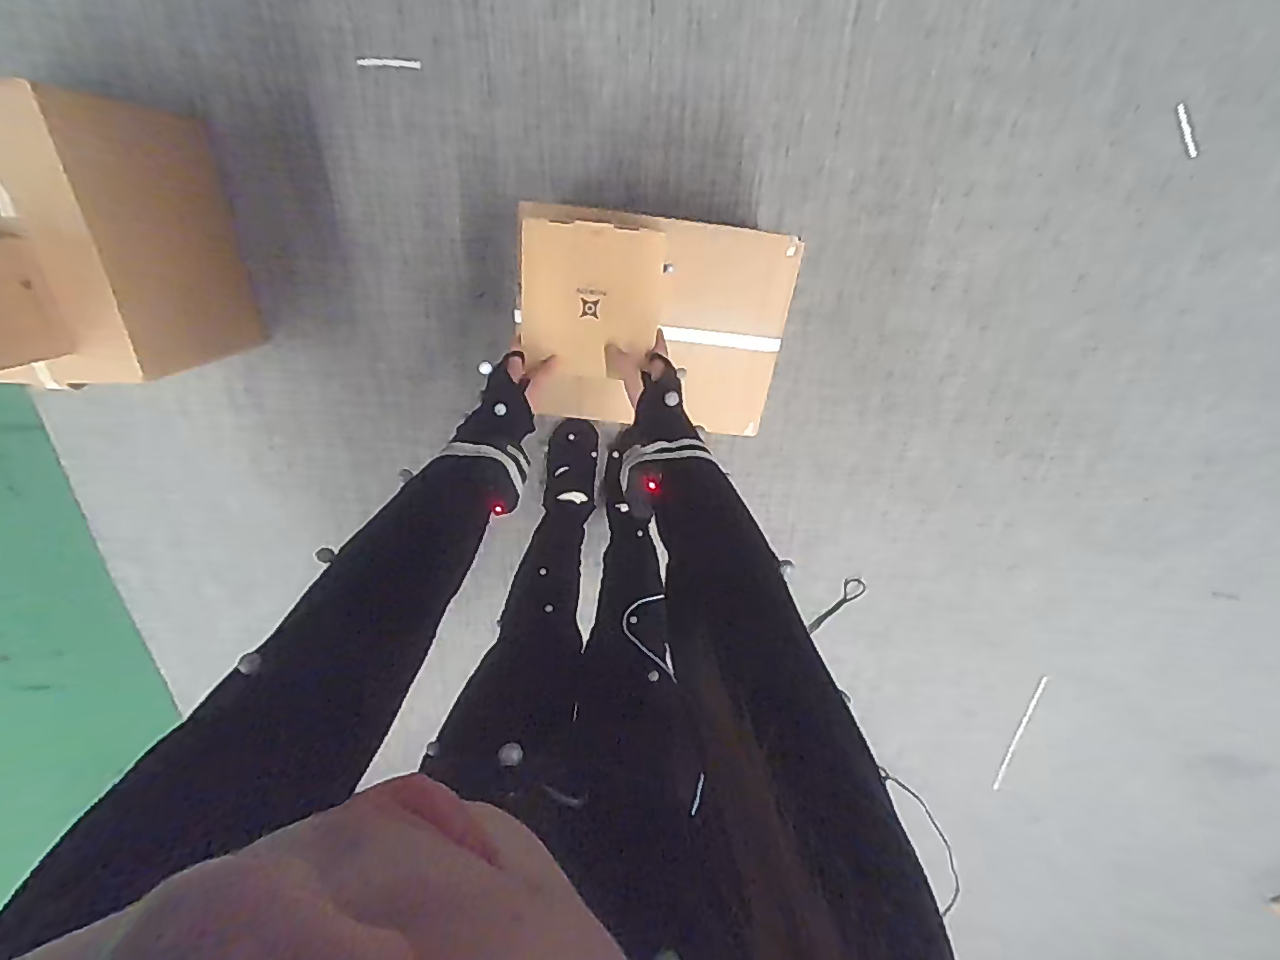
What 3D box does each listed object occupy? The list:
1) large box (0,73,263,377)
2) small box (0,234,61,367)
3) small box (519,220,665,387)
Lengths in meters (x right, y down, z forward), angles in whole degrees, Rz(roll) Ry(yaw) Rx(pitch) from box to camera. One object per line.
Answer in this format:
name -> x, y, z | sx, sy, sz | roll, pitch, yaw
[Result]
large box -> -0.932, -0.405, 0.914 | 0.320, 0.320, 0.408 | 1, 114, 0
small box -> -0.952, -0.238, 0.724 | 0.179, 0.176, 0.168 | 0, 115, 1
small box -> -0.057, -0.232, 0.715 | 0.168, 0.176, 0.179 | 6, 110, -1
